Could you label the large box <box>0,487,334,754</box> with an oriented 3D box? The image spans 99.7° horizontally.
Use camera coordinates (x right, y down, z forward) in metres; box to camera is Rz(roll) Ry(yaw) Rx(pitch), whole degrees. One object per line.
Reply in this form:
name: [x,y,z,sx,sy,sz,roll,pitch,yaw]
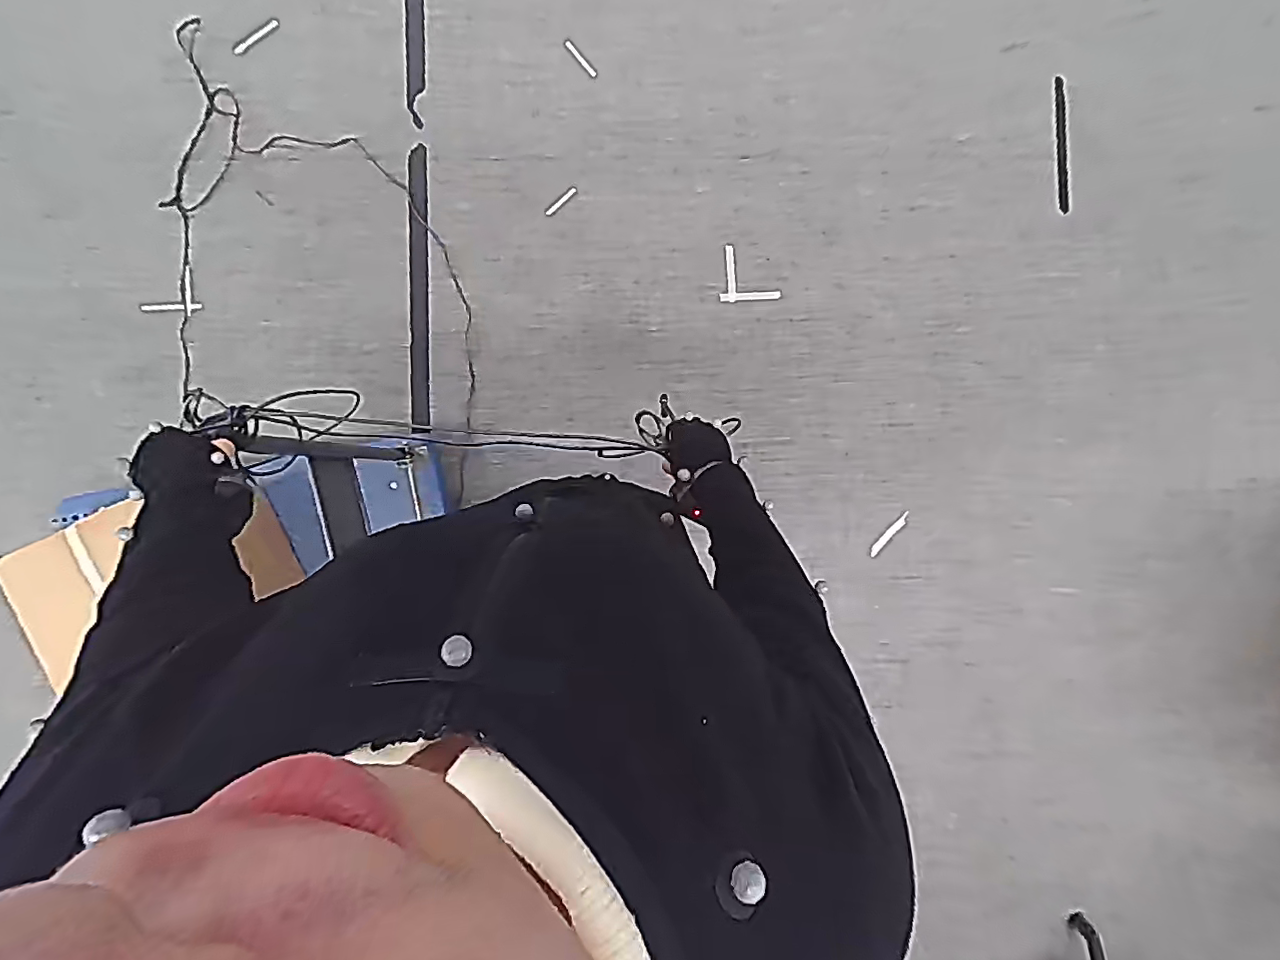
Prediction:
large box: [-0.937,0.257,1.127,0.320,0.320,0.408,-25,91,-3]
